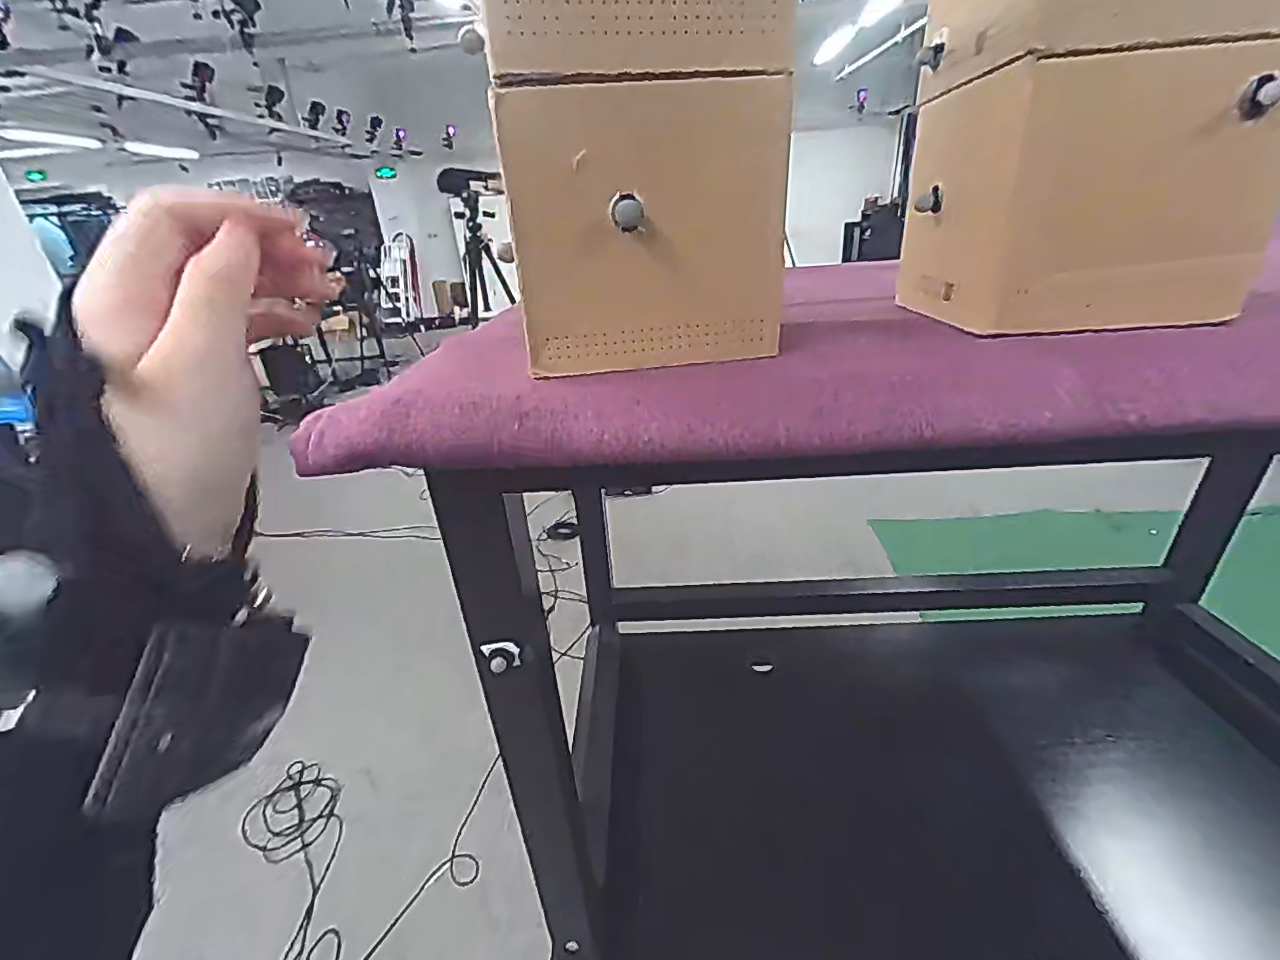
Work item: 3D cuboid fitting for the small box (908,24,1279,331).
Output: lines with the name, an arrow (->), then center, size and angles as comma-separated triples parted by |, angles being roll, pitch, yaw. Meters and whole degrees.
small box -> 0.326, -0.214, 0.416 | 0.179, 0.176, 0.168 | -2, 26, 4

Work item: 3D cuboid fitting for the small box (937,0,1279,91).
small box -> 0.317, -0.364, 0.349 | 0.179, 0.176, 0.168 | -1, 26, 3

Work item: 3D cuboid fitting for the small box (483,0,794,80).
small box -> -0.010, -0.332, 0.329 | 0.179, 0.176, 0.168 | -9, 27, -8

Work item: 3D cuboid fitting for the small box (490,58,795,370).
small box -> 0.000, -0.187, 0.403 | 0.179, 0.176, 0.168 | -7, 28, -6
